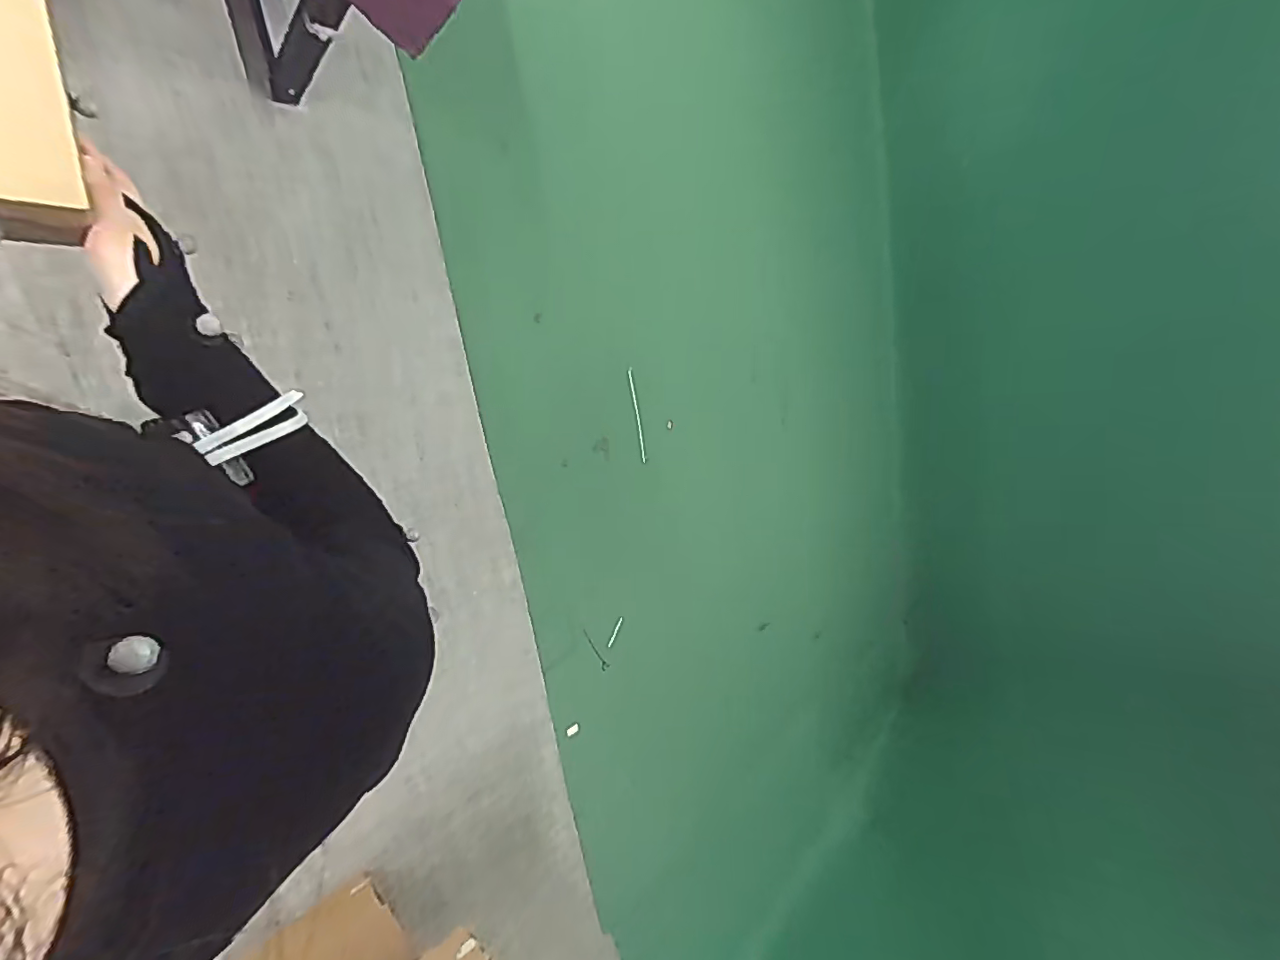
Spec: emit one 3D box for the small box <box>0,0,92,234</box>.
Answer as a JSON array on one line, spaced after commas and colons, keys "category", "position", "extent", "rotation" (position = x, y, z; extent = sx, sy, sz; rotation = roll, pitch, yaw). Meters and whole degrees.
[{"category": "small box", "position": [-0.420, -0.234, 0.279], "extent": [0.179, 0.176, 0.168], "rotation": [-12, 108, -41]}]
